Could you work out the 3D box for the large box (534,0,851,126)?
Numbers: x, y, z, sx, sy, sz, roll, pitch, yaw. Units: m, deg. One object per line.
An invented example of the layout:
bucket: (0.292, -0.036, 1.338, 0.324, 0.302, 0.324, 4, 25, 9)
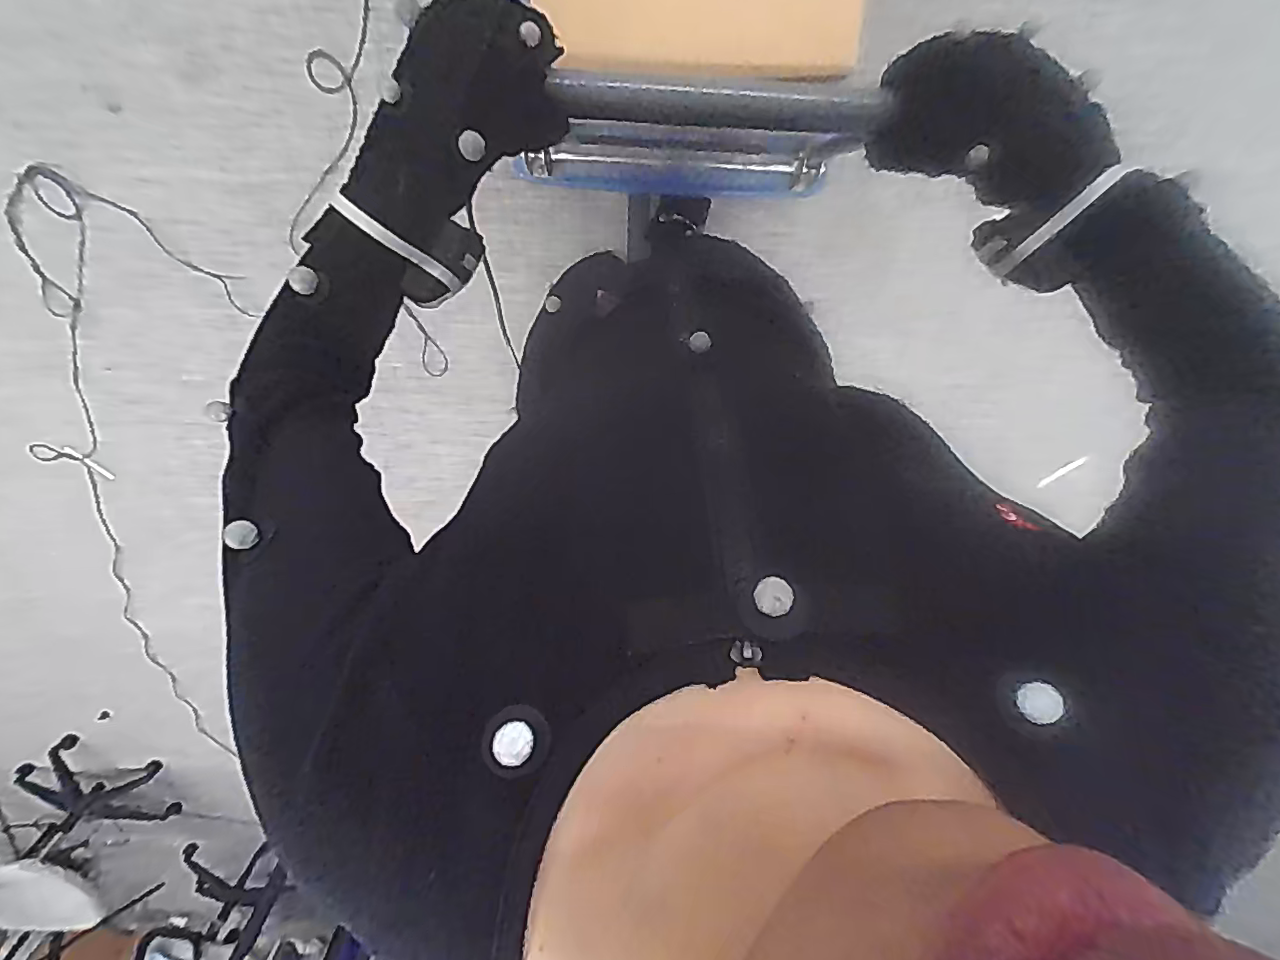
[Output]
large box: (0.057, -0.722, 0.774, 0.408, 0.320, 0.320, -3, 117, -1)
